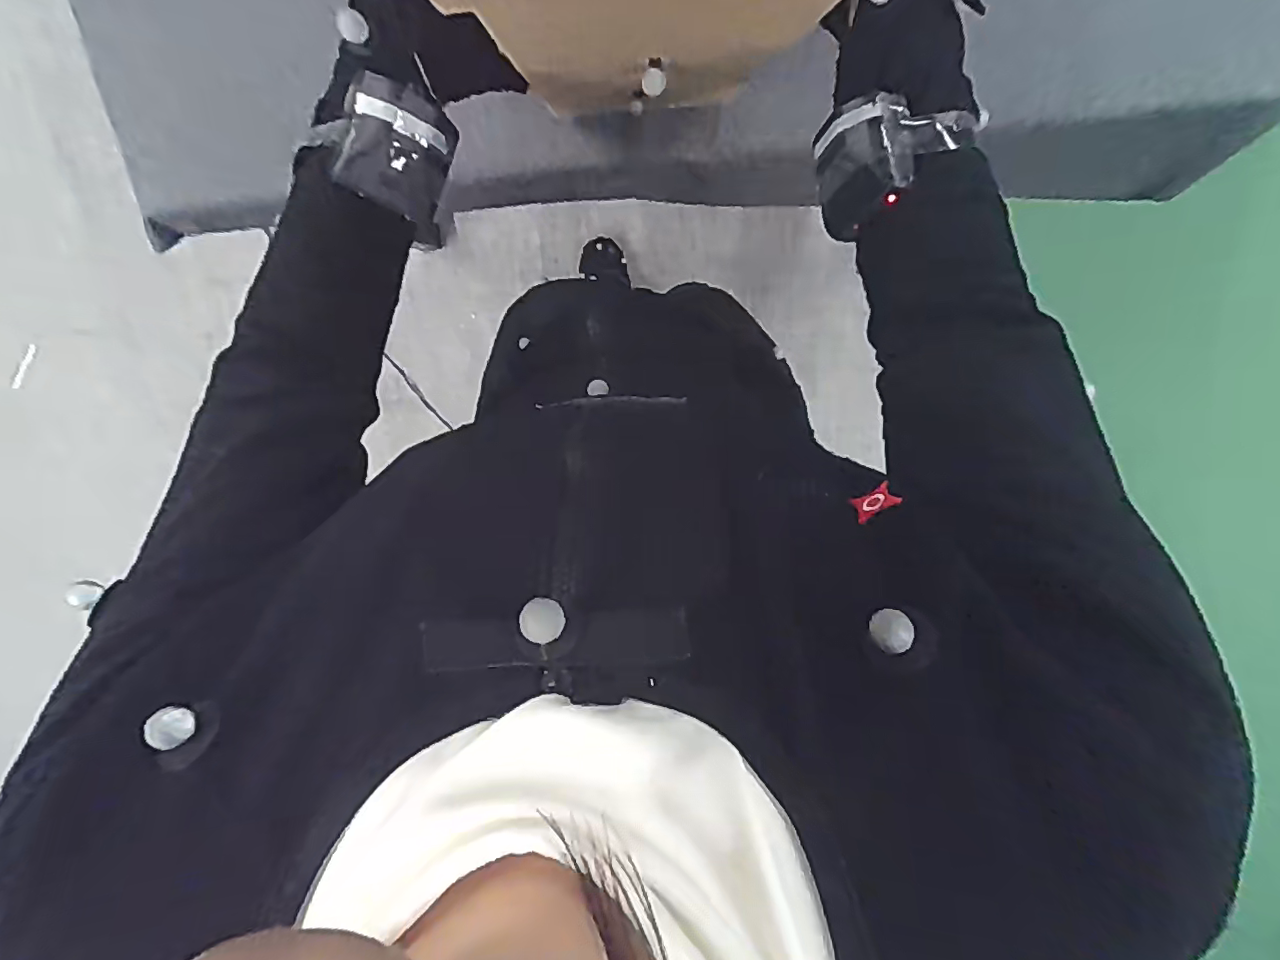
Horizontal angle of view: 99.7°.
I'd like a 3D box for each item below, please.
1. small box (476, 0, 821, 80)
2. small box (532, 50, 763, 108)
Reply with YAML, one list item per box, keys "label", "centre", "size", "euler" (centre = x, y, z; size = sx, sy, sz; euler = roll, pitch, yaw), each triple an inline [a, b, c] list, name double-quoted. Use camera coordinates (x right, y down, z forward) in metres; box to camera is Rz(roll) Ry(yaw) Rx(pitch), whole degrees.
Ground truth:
- label: "small box"
  centre: [0.000, -0.328, 0.278]
  size: [0.179, 0.176, 0.168]
  euler: [-4, 115, 0]
- label: "small box"
  centre: [-0.002, -0.405, 0.420]
  size: [0.179, 0.176, 0.168]
  euler: [-2, 115, 0]
